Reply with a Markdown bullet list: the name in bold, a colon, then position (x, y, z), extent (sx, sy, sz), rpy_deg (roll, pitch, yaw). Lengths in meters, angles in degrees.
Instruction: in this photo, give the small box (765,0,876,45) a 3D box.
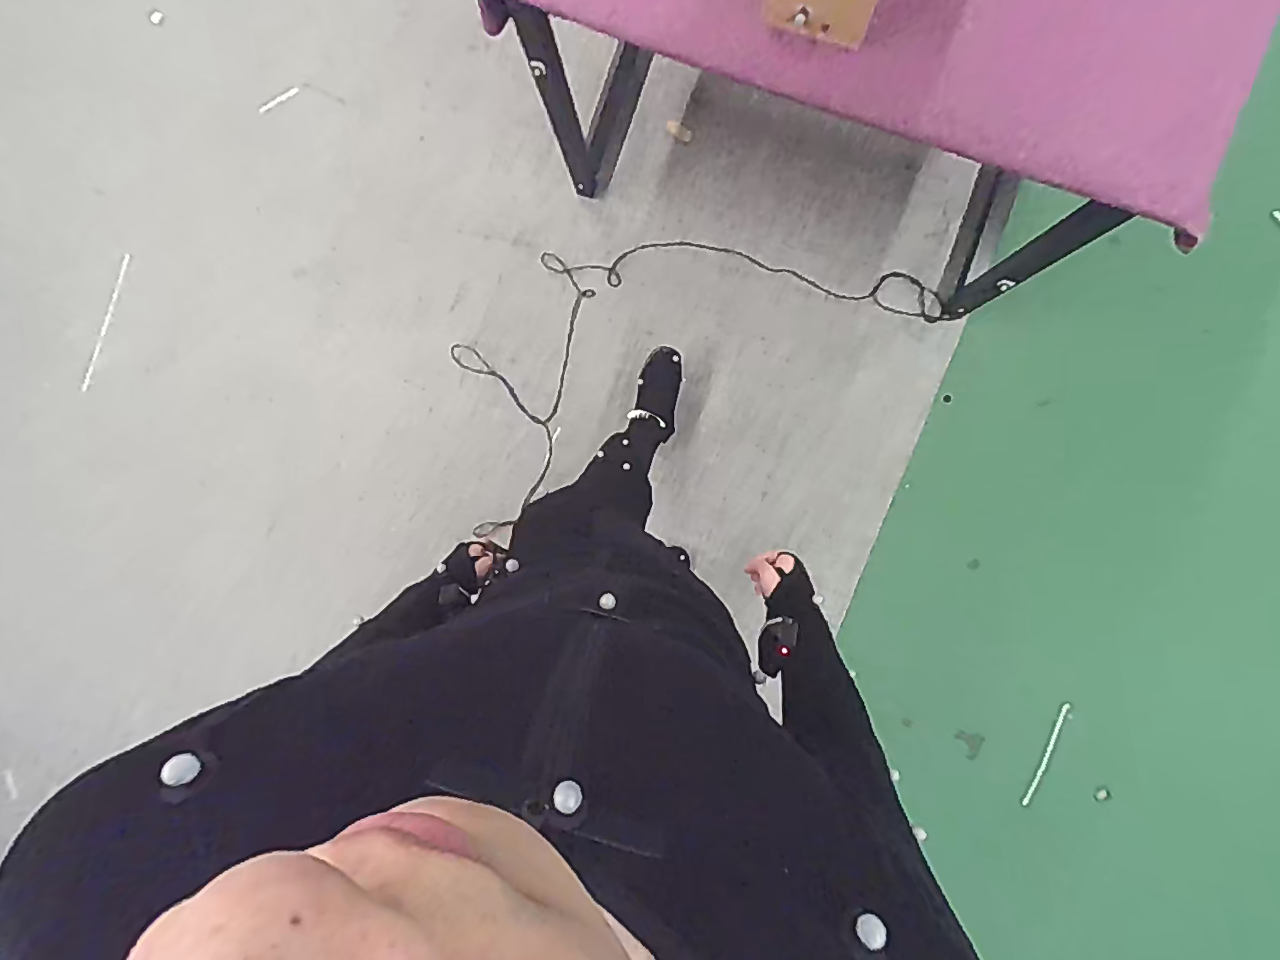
- **small box**: position (0.291, -0.794, 0.779), extent (0.168, 0.176, 0.179), rpy_deg (21, 92, 6)
